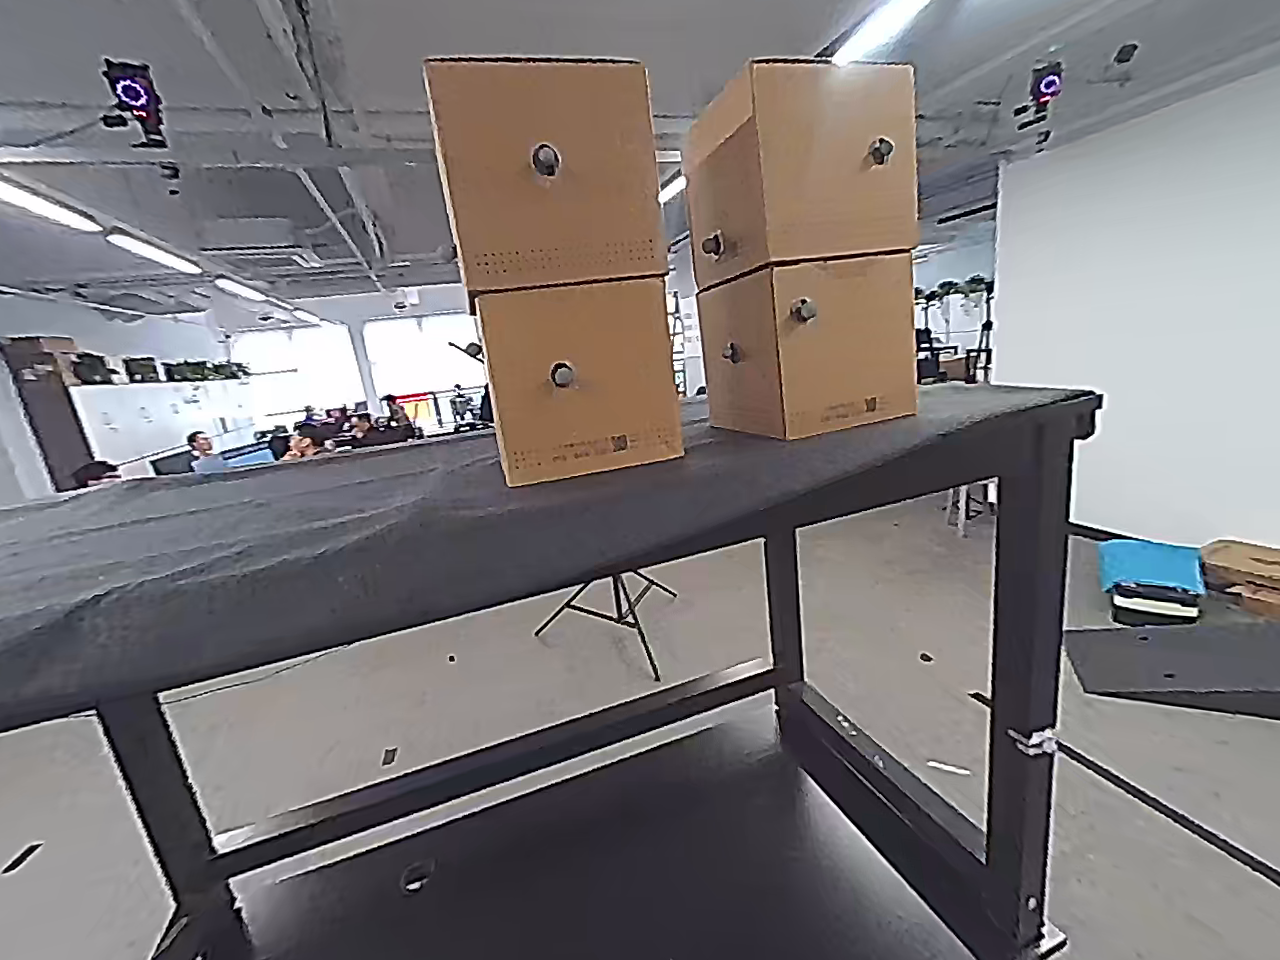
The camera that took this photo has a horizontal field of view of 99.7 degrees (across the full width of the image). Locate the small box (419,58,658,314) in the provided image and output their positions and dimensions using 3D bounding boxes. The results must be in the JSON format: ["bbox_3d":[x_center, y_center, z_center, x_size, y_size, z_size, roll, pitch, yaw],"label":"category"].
[{"bbox_3d":[-0.089,-0.255,0.507,0.179,0.176,0.168,-12,12,-14],"label":"small box"}]

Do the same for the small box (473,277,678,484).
[{"bbox_3d":[-0.069,-0.097,0.553,0.168,0.176,0.179,-11,13,-14],"label":"small box"}]

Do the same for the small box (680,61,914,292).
[{"bbox_3d":[0.160,-0.302,0.571,0.179,0.176,0.168,-13,12,-16],"label":"small box"}]
